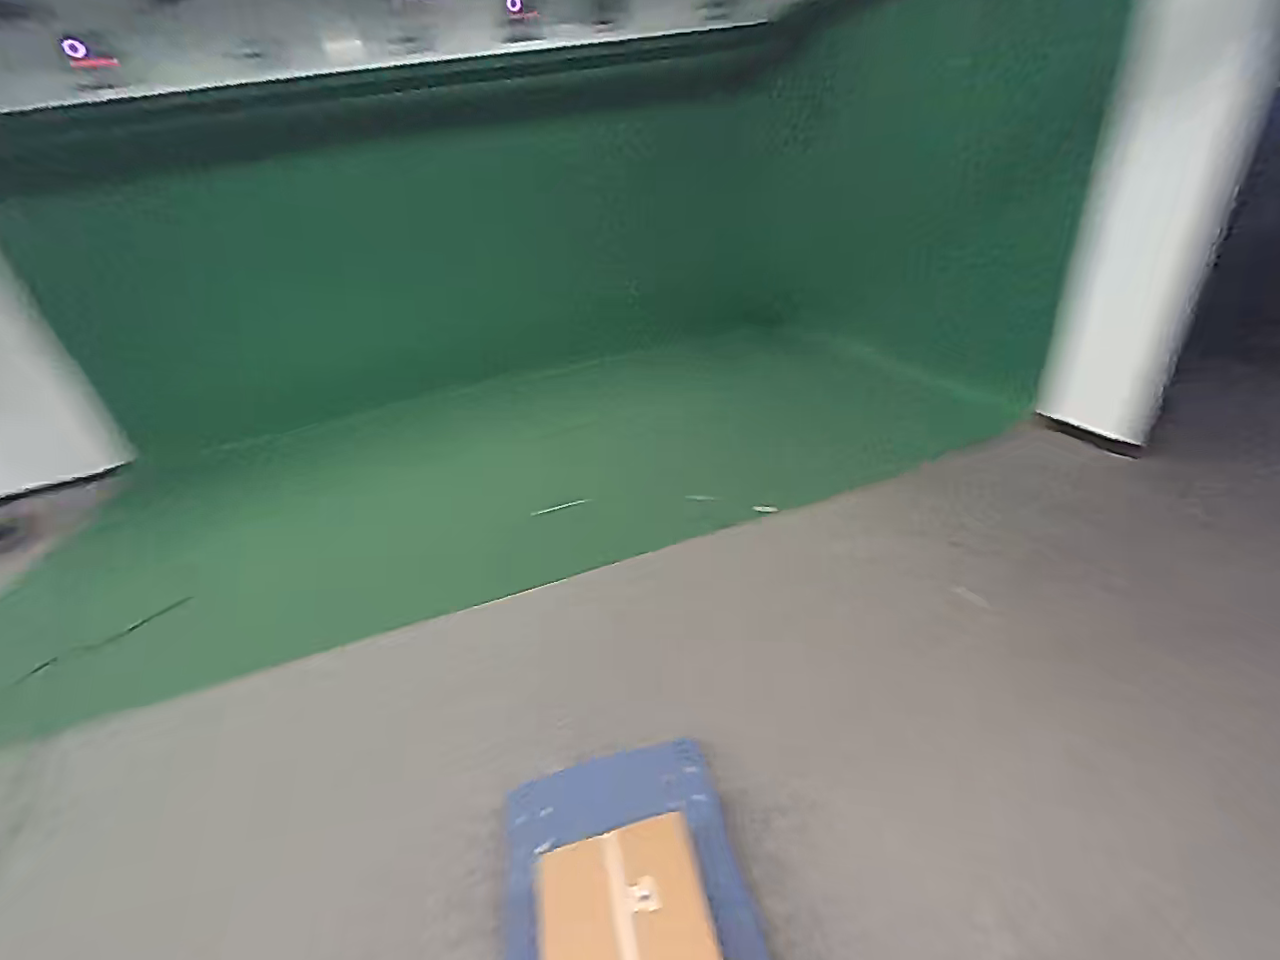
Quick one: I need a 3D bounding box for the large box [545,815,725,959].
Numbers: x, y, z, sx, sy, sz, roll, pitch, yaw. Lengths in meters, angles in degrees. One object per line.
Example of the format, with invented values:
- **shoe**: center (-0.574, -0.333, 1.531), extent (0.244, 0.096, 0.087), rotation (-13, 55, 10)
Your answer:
- **large box**: center (0.008, 0.976, 1.055), extent (0.320, 0.320, 0.408), rotation (-12, 29, -6)
